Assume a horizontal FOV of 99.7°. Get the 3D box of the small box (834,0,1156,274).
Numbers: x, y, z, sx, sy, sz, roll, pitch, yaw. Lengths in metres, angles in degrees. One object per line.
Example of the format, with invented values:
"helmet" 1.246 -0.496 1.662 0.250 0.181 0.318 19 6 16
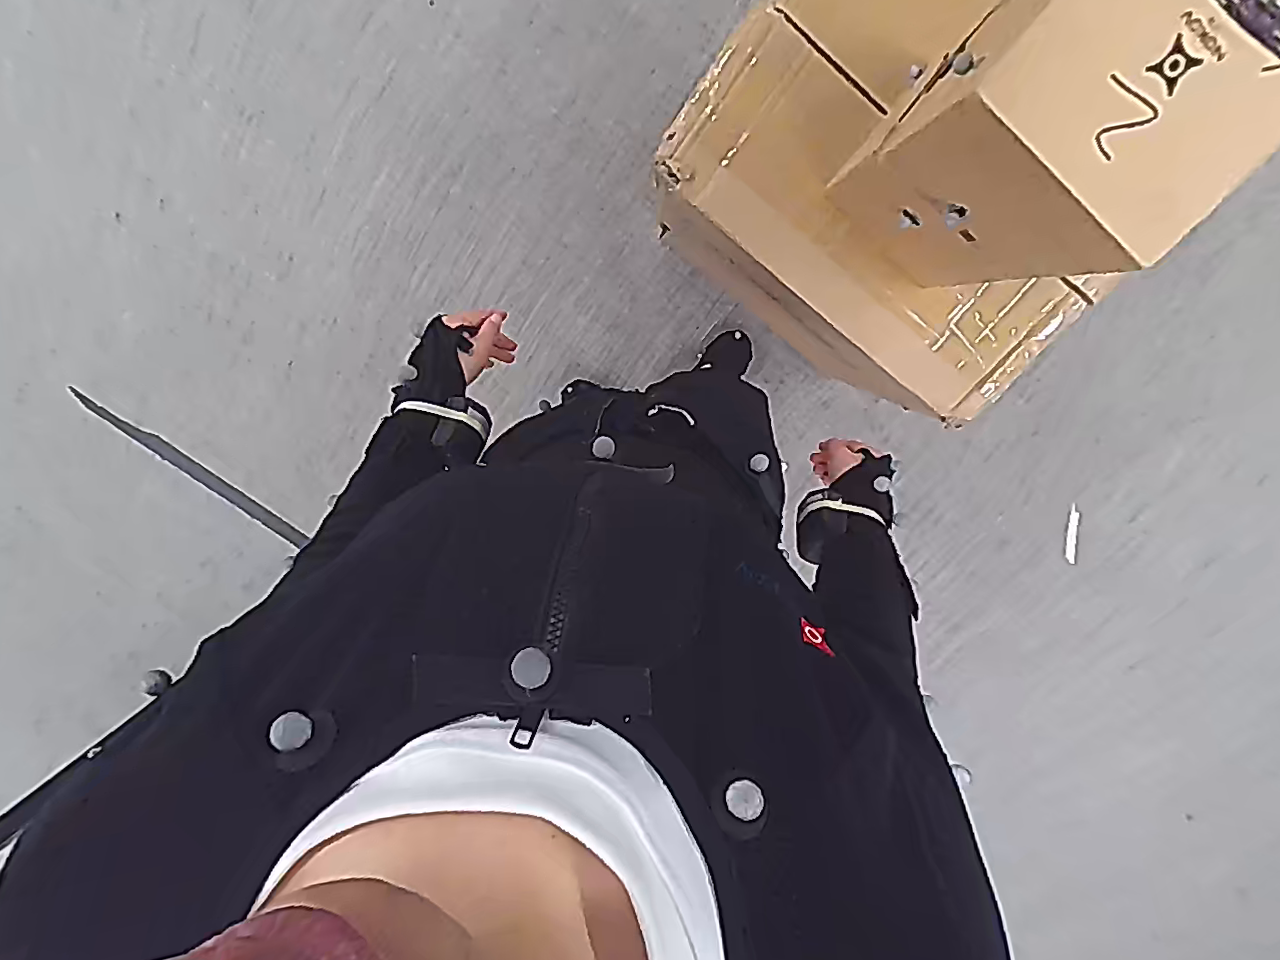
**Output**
"small box" 0.329 -0.328 0.546 0.179 0.176 0.168 38 106 -9
